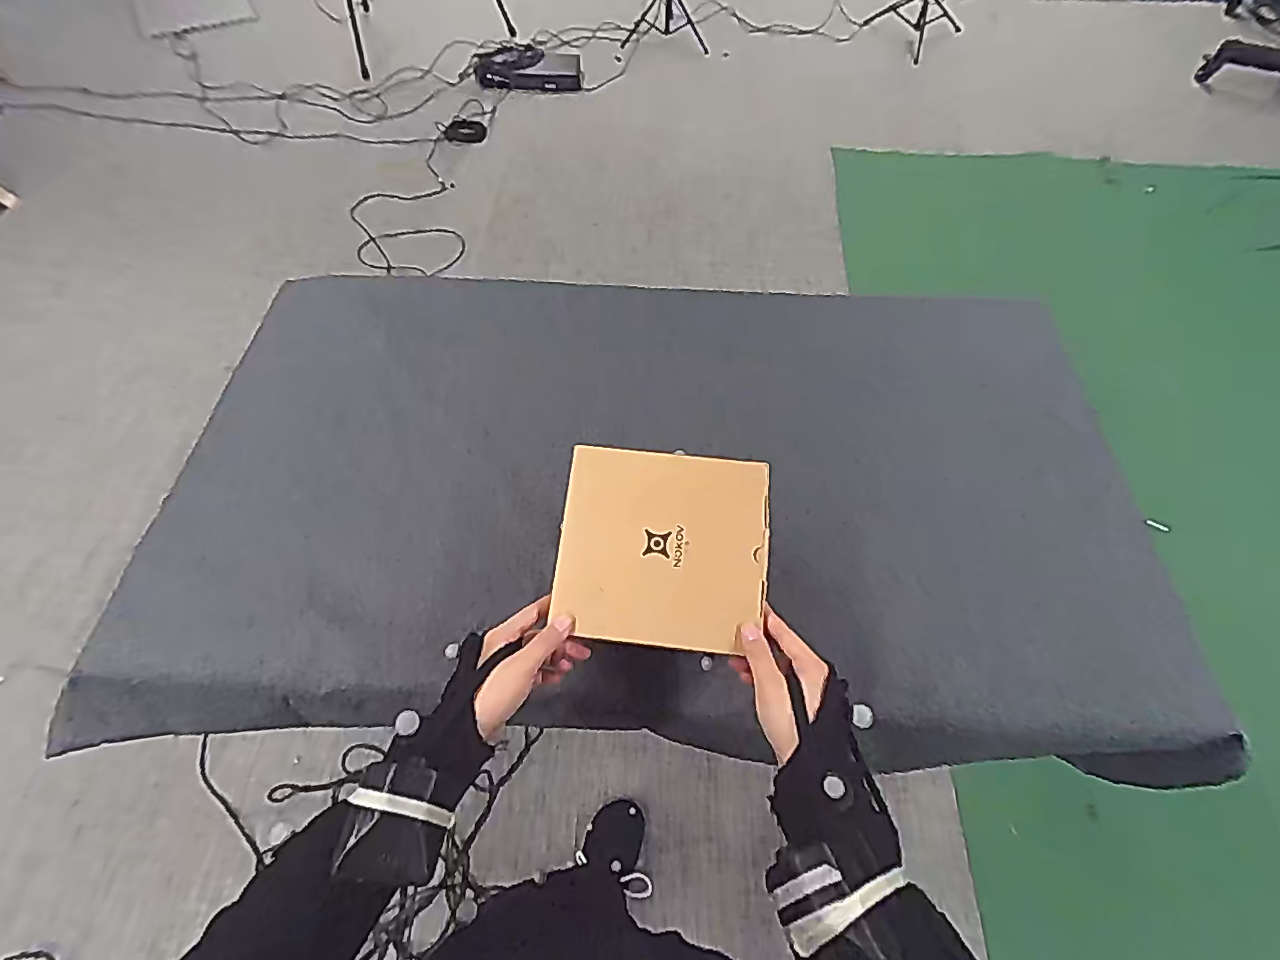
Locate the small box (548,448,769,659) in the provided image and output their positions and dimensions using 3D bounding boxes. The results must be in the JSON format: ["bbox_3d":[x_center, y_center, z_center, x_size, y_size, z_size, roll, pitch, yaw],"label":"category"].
[{"bbox_3d":[0.021,0.081,0.533,0.179,0.176,0.168,6,71,2],"label":"small box"}]
